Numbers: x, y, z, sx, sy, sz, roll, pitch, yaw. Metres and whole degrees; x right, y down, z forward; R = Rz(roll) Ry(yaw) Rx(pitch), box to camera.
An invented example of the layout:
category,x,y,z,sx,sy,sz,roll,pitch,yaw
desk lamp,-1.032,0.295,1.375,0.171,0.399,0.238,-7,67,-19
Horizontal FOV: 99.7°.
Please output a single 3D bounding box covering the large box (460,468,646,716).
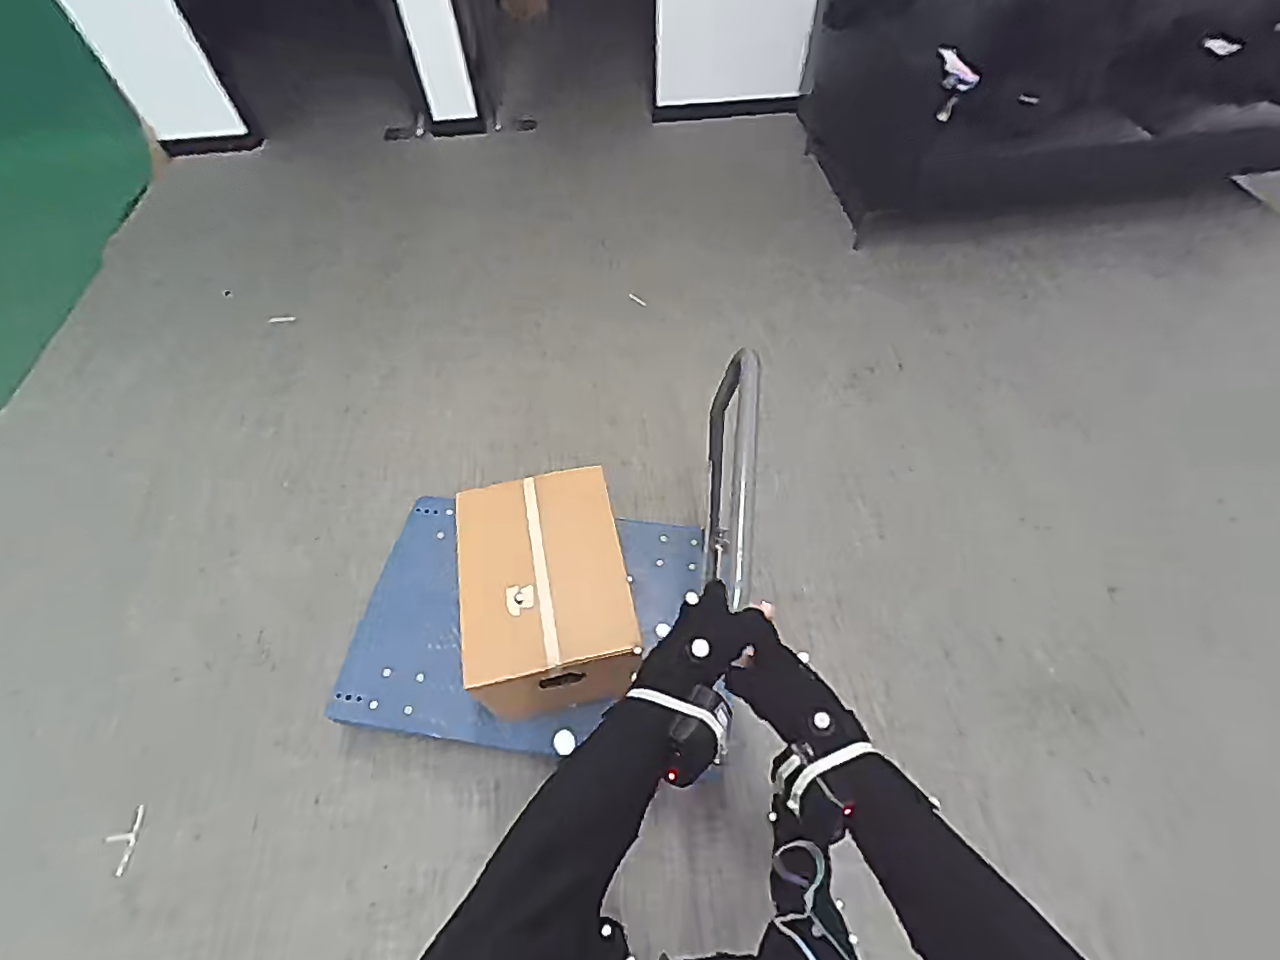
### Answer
category,x,y,z,sx,sy,sz,roll,pitch,yaw
large box,-0.182,0.241,1.162,0.320,0.320,0.408,-11,57,-6
